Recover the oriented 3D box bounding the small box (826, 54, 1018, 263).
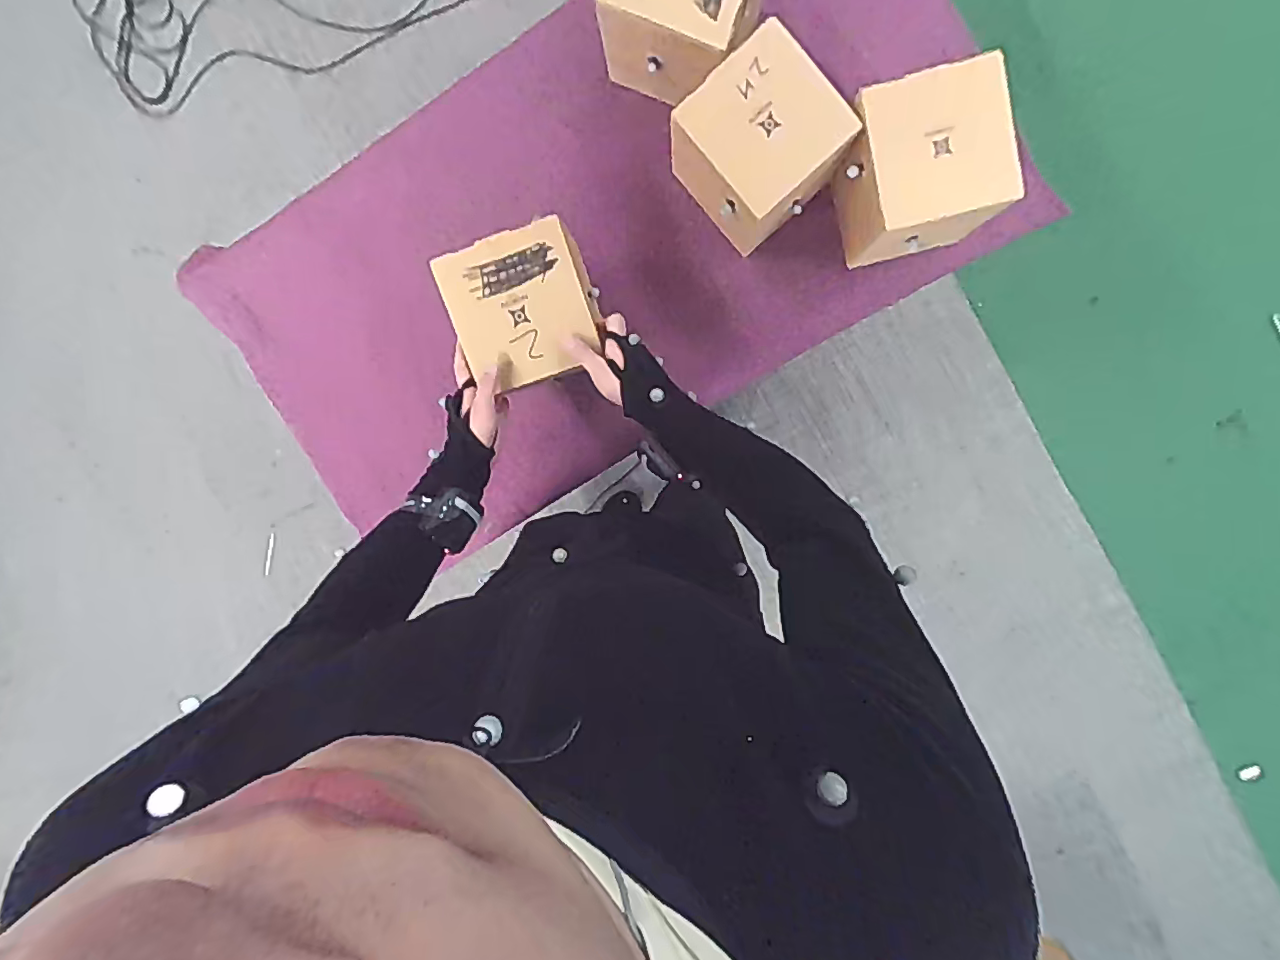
[{"bbox_3d":[0.366,-0.411,0.731,0.168,0.176,0.179,-12,94,6],"label":"small box"}]
